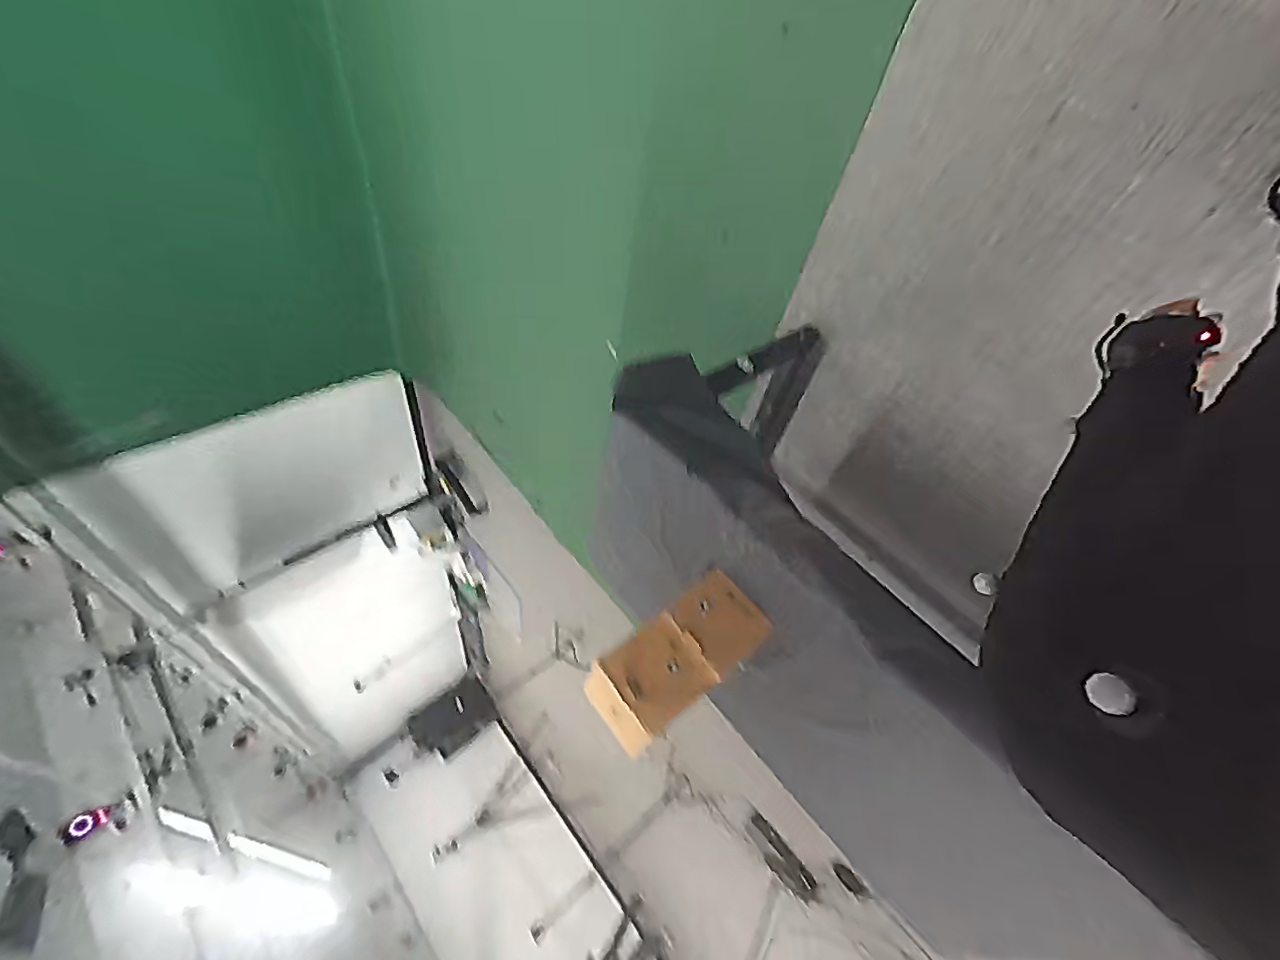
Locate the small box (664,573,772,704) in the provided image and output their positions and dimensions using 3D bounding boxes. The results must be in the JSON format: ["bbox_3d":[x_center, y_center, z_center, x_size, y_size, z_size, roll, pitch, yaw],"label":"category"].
[{"bbox_3d":[0.148,0.325,1.125,0.168,0.176,0.179,47,148,23],"label":"small box"}]

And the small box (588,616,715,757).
[{"bbox_3d":[0.021,0.401,1.056,0.168,0.176,0.179,48,146,22],"label":"small box"}]
